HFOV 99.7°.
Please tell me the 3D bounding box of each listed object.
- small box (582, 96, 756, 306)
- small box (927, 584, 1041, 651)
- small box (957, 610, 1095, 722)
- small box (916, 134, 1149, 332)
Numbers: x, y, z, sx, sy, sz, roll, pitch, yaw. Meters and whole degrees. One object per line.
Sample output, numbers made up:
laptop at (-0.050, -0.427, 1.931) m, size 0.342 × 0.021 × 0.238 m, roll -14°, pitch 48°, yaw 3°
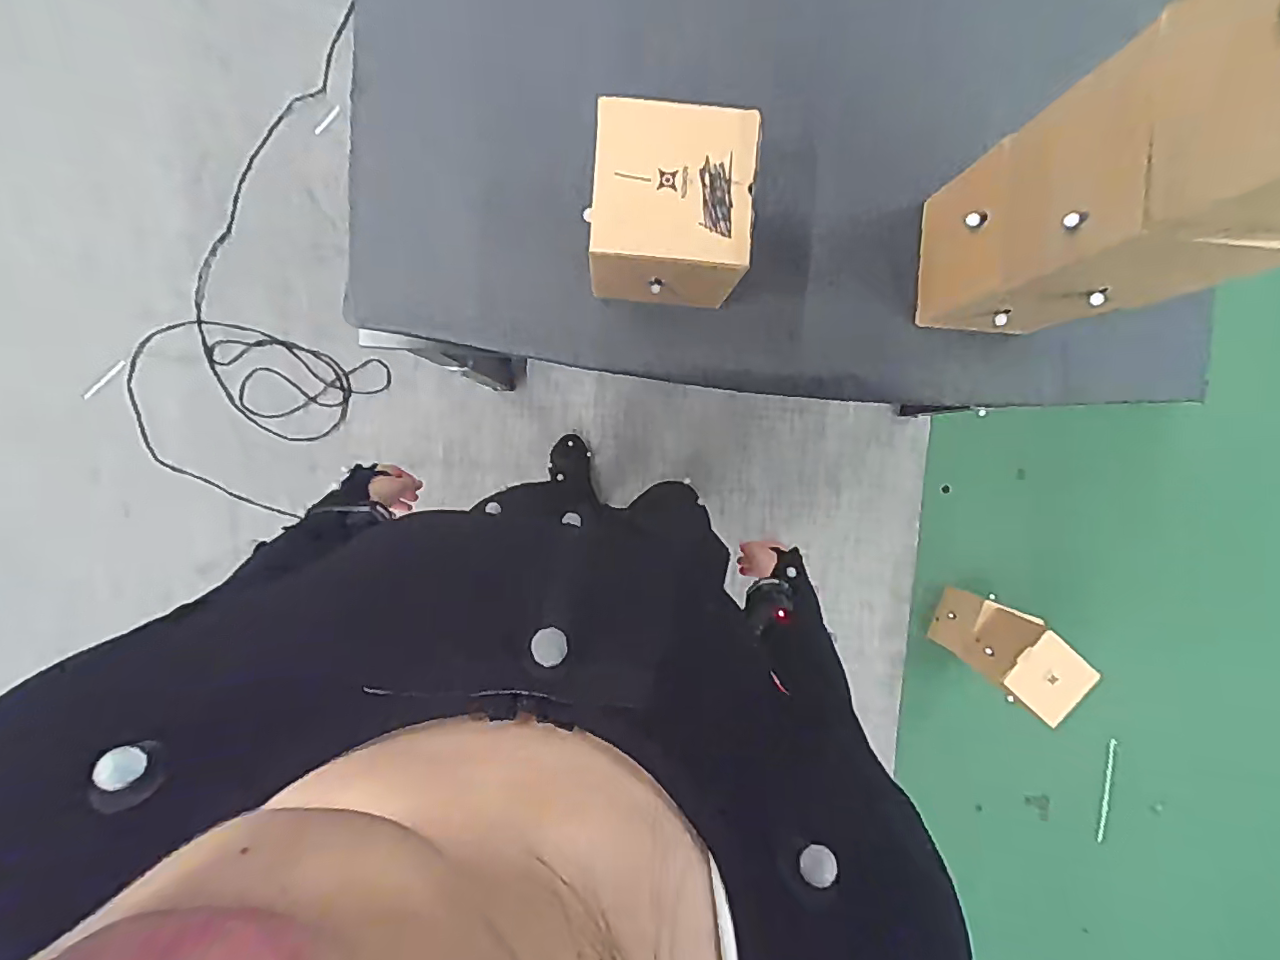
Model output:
small box at (0.027, -0.317, 0.651) m, size 0.179 × 0.176 × 0.168 m, roll 4°, pitch 93°, yaw -3°
small box at (0.927, 0.397, 1.478) m, size 0.179 × 0.176 × 0.168 m, roll 20°, pitch 93°, yaw -4°
small box at (0.928, 0.440, 1.318) m, size 0.179 × 0.176 × 0.168 m, roll 41°, pitch 92°, yaw -5°
small box at (0.471, -0.291, 0.676) m, size 0.168 × 0.176 × 0.179 m, roll 3°, pitch 92°, yaw -3°
